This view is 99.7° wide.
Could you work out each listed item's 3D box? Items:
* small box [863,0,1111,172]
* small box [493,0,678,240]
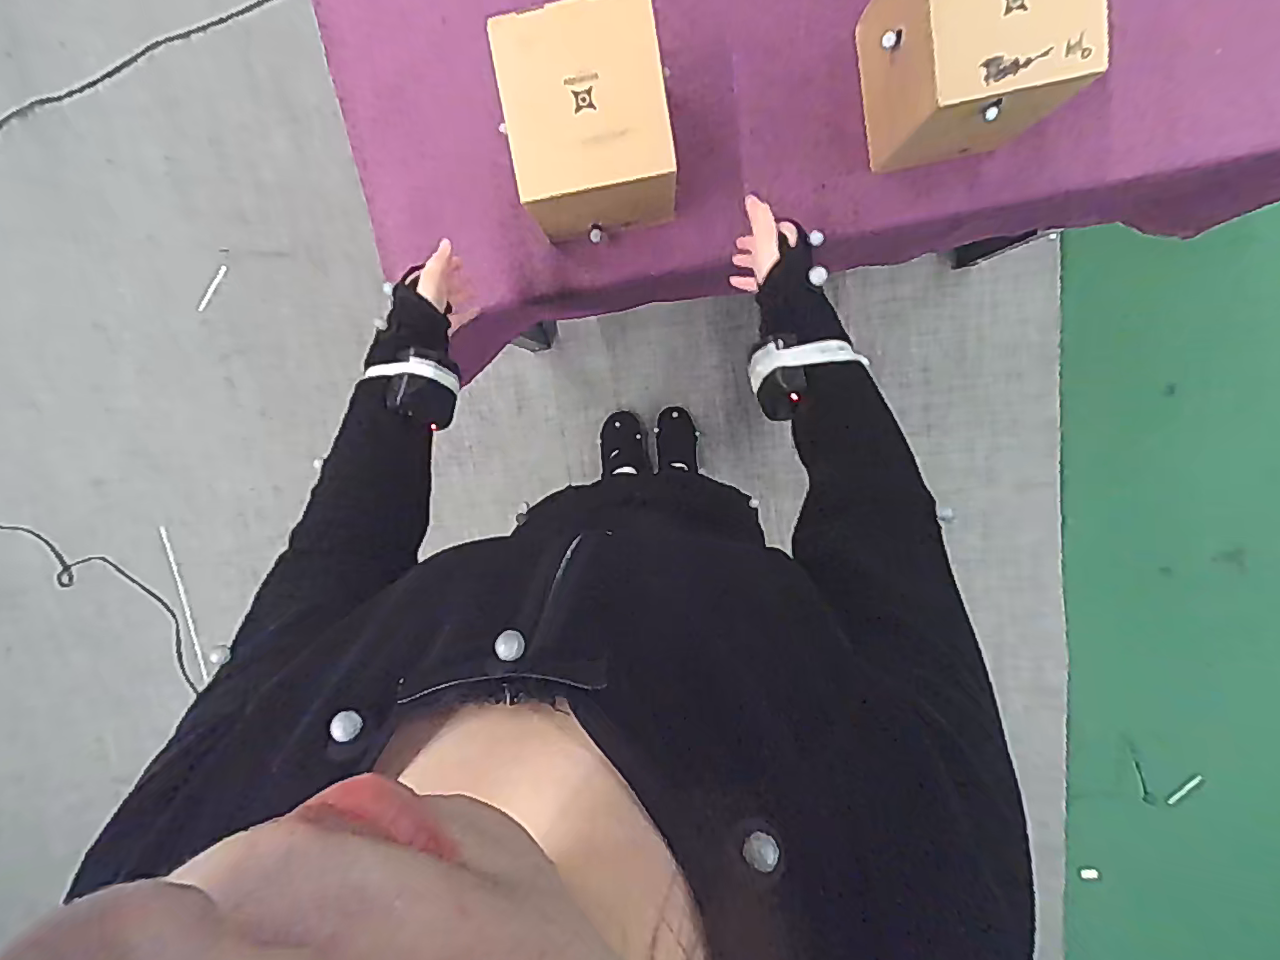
[{"bbox_3d":[0.361,-0.475,0.592,0.168,0.176,0.179,-10,98,4],"label":"small box"},{"bbox_3d":[-0.051,-0.399,0.620,0.168,0.176,0.179,-9,100,4],"label":"small box"}]
